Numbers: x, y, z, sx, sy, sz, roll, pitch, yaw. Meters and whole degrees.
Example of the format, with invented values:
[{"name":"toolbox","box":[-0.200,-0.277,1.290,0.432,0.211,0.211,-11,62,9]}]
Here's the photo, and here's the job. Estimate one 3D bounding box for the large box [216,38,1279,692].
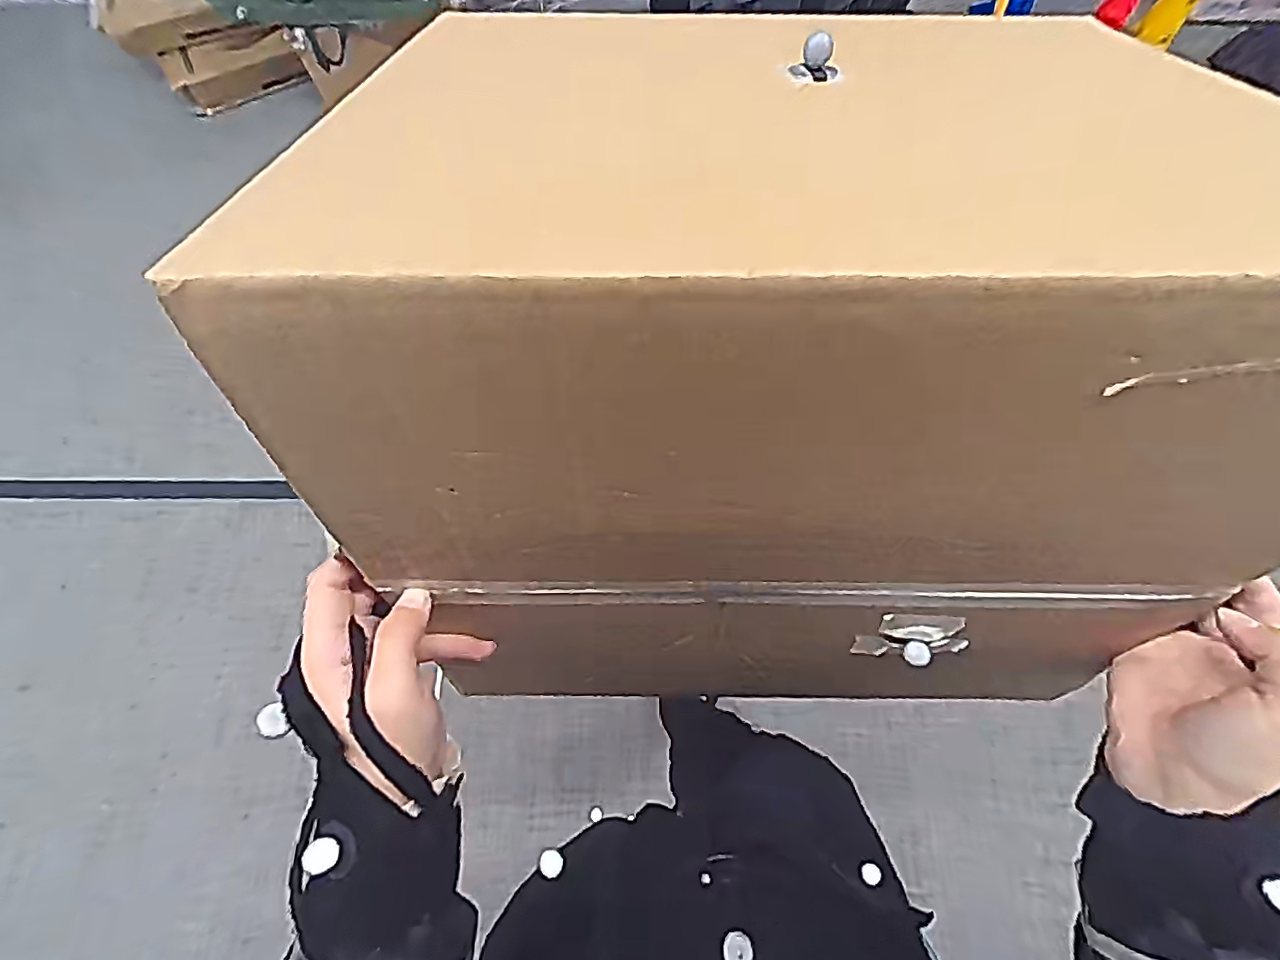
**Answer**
[{"name":"large box","box":[0.073,-0.067,0.361,0.408,0.320,0.320,-1,51,0]}]
